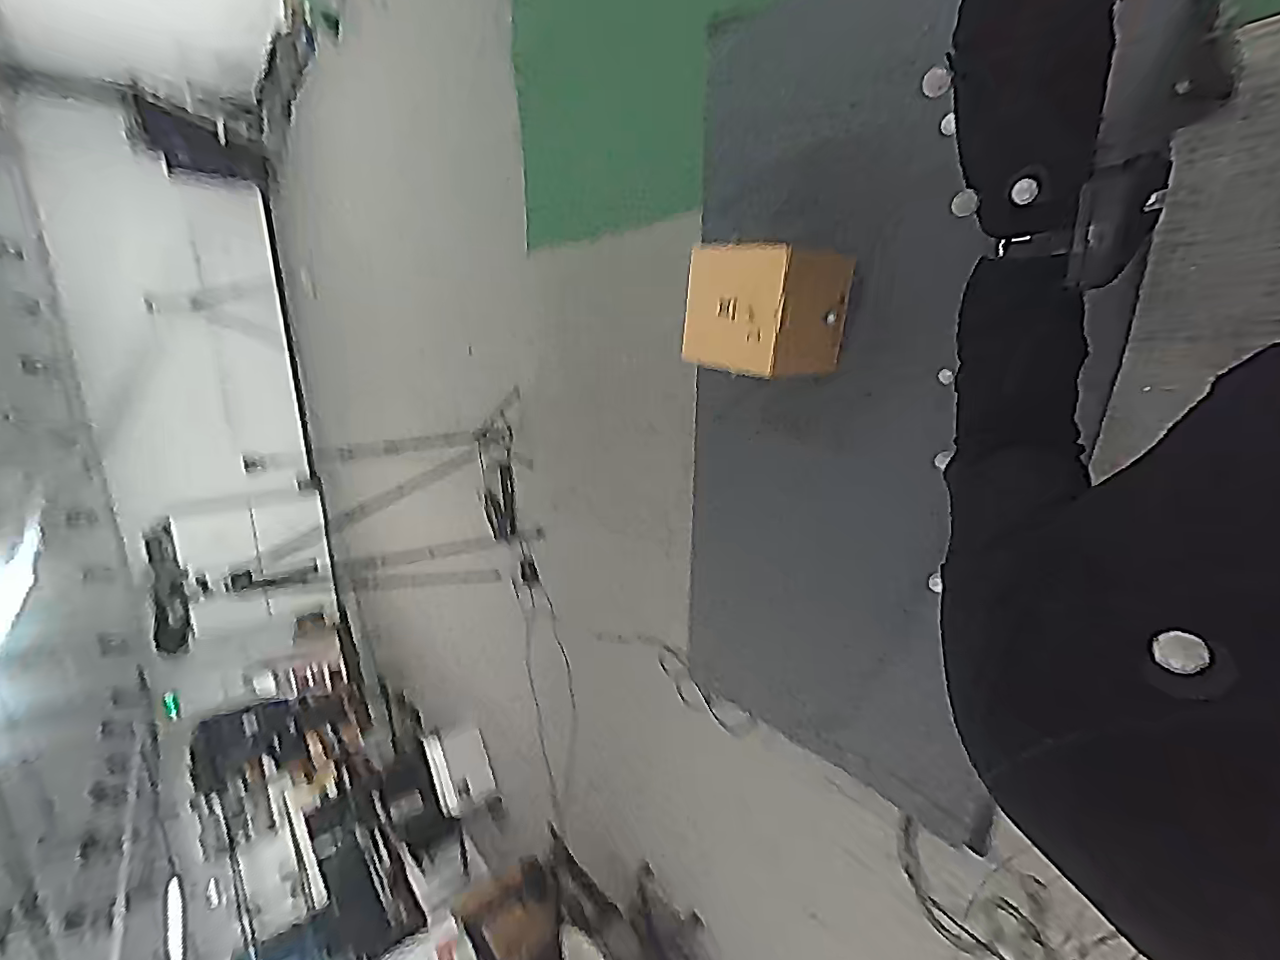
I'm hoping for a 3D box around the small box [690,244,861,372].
[{"bbox_3d":[0.202,-0.261,0.822,0.179,0.176,0.168,24,118,45],"label":"small box"}]
